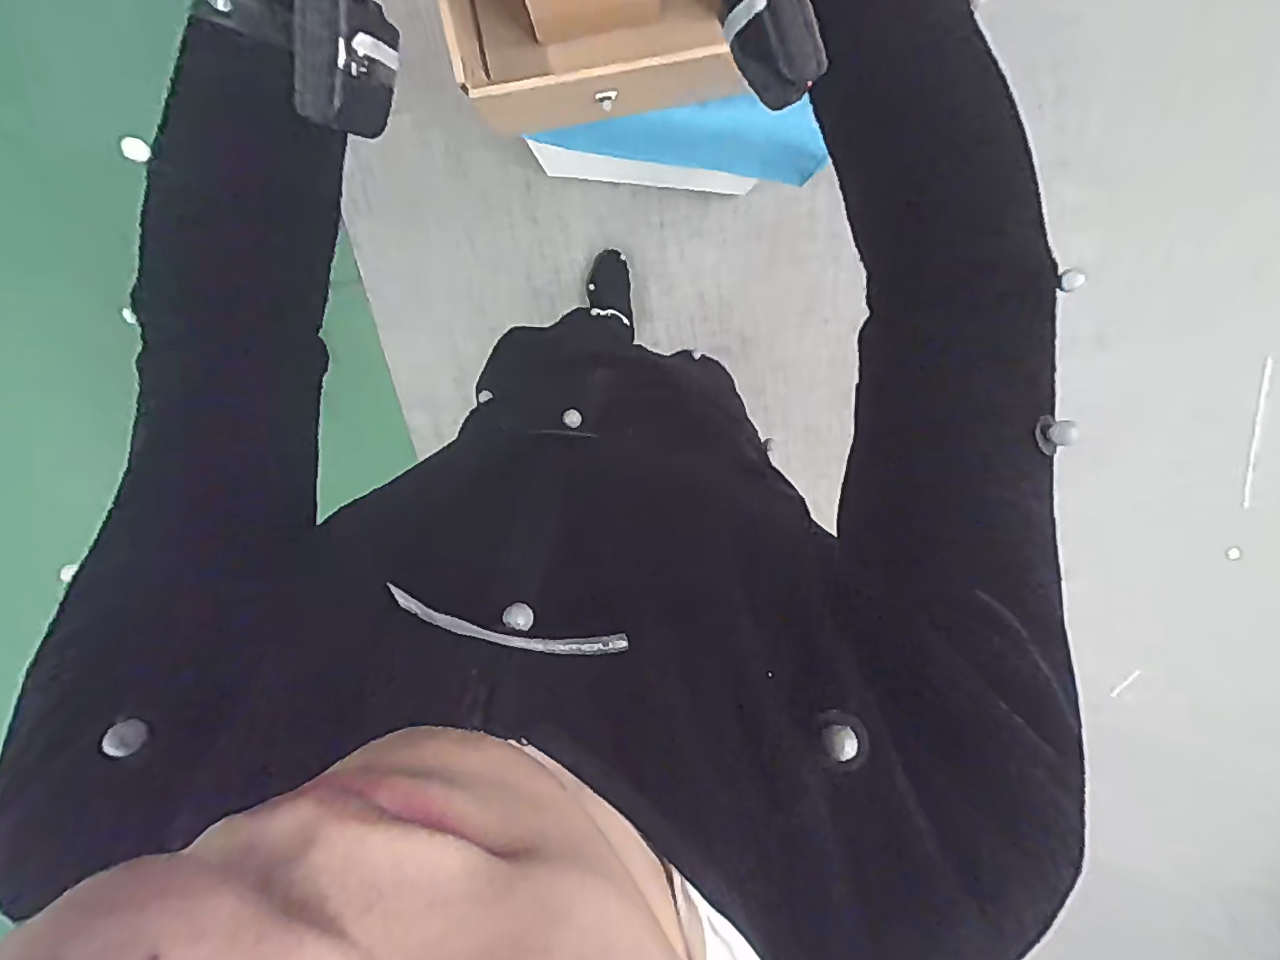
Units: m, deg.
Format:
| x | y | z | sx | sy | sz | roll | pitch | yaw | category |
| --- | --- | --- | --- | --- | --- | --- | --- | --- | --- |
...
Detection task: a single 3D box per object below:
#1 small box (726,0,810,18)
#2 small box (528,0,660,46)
| x | y | z | sx | sy | sz | roll | pitch | yaw | category |
| --- | --- | --- | --- | --- | --- | --- | --- | --- | --- |
| 0.188 | -0.716 | 0.661 | 0.179 | 0.176 | 0.168 | -12 | 106 | 6 | small box |
| -0.068 | -0.684 | 0.672 | 0.179 | 0.176 | 0.168 | -10 | 106 | 1 | small box |
